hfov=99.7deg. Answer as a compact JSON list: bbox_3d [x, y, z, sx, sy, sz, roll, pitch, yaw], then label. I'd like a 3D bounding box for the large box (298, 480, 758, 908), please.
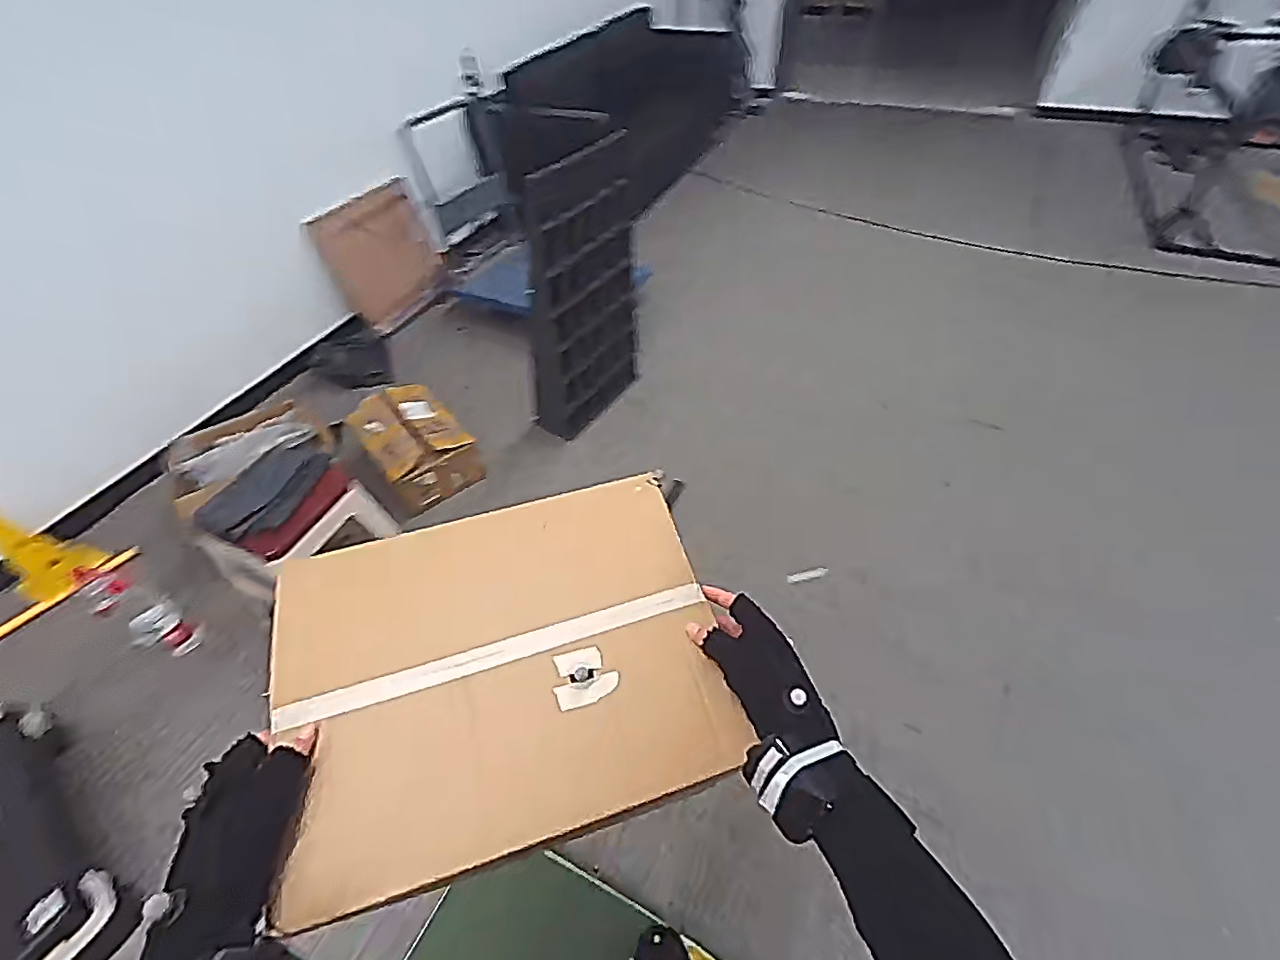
[{"bbox_3d":[-0.129,0.249,0.657,0.408,0.320,0.320,-13,59,-12],"label":"large box"}]
